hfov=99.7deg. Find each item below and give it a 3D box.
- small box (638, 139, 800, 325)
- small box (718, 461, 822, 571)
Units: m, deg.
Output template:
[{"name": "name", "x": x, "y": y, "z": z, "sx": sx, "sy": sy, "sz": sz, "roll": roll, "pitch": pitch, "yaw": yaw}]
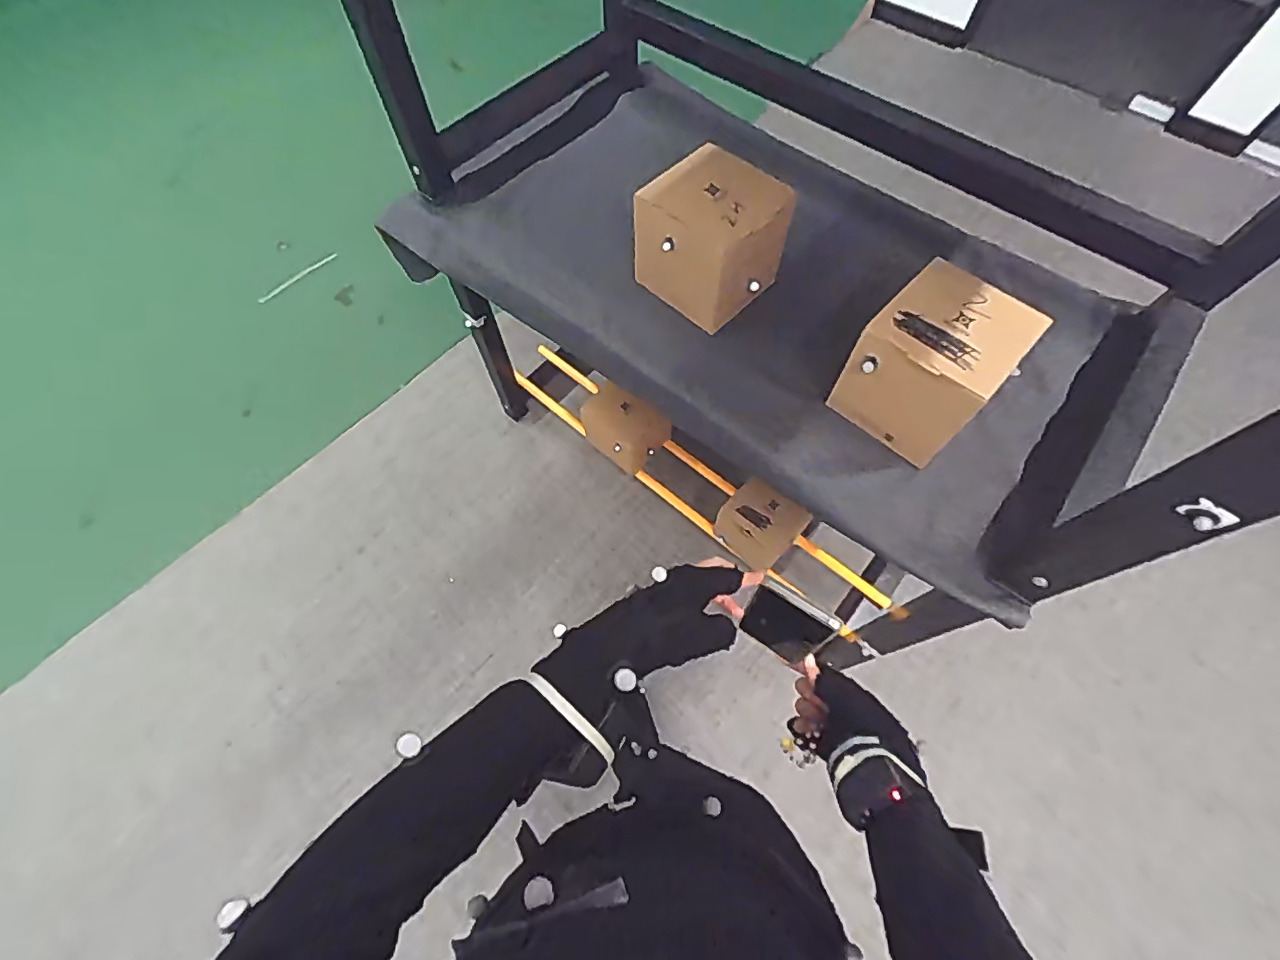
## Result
[{"name": "small box", "x": 0.112, "y": -0.378, "z": 0.841, "sx": 0.179, "sy": 0.176, "sz": 0.168, "roll": 41, "pitch": 71, "yaw": 18}, {"name": "small box", "x": 0.303, "y": 0.094, "z": 1.303, "sx": 0.168, "sy": 0.176, "sz": 0.179, "roll": 41, "pitch": 72, "yaw": 18}]
